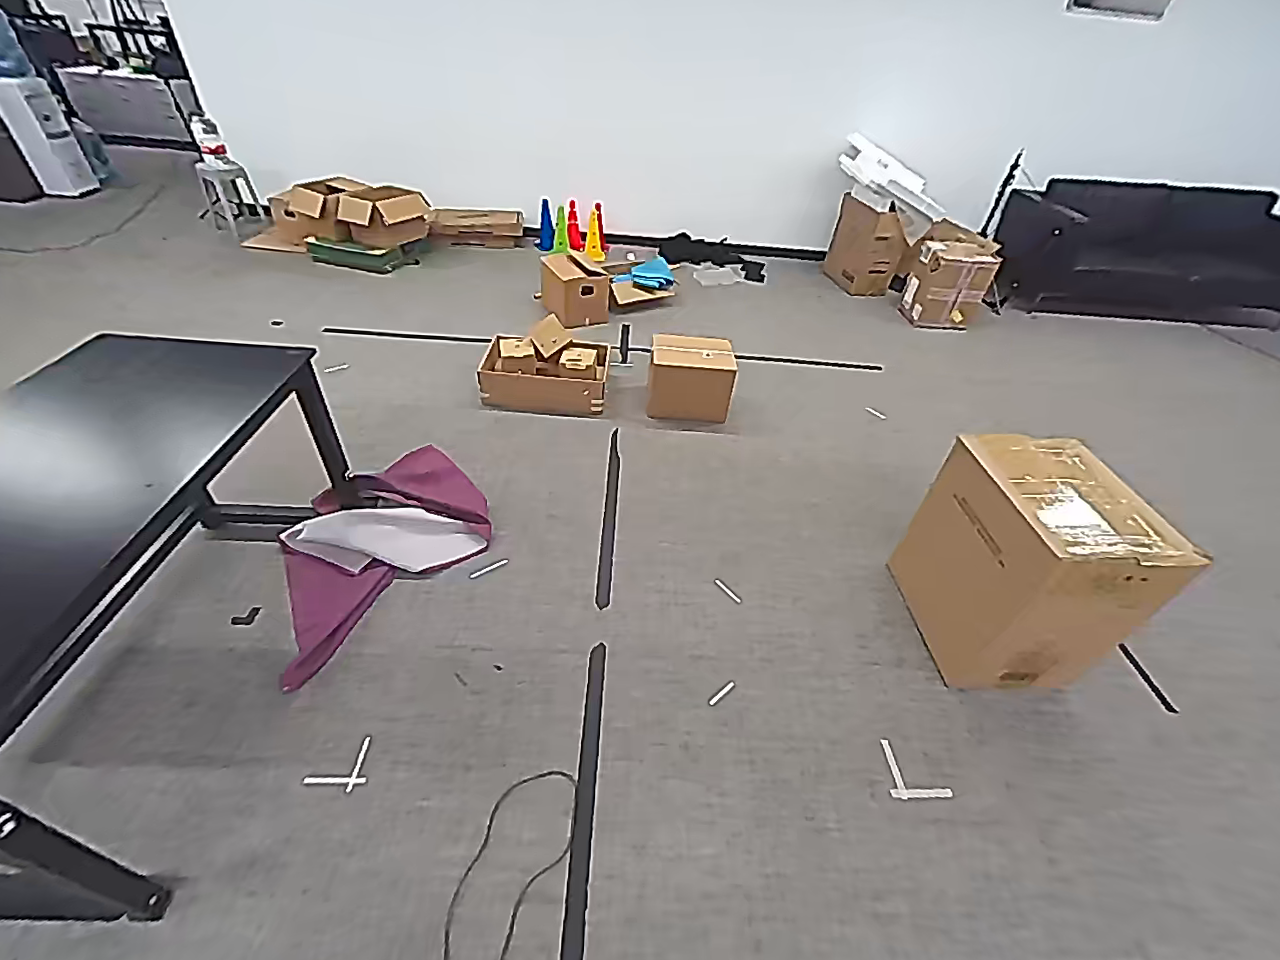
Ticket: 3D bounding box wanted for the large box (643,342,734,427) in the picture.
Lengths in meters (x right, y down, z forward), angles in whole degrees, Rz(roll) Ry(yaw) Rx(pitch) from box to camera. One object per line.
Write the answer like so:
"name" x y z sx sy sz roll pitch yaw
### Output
"large box" 0.234 -0.490 2.775 0.408 0.320 0.320 4 41 -4
